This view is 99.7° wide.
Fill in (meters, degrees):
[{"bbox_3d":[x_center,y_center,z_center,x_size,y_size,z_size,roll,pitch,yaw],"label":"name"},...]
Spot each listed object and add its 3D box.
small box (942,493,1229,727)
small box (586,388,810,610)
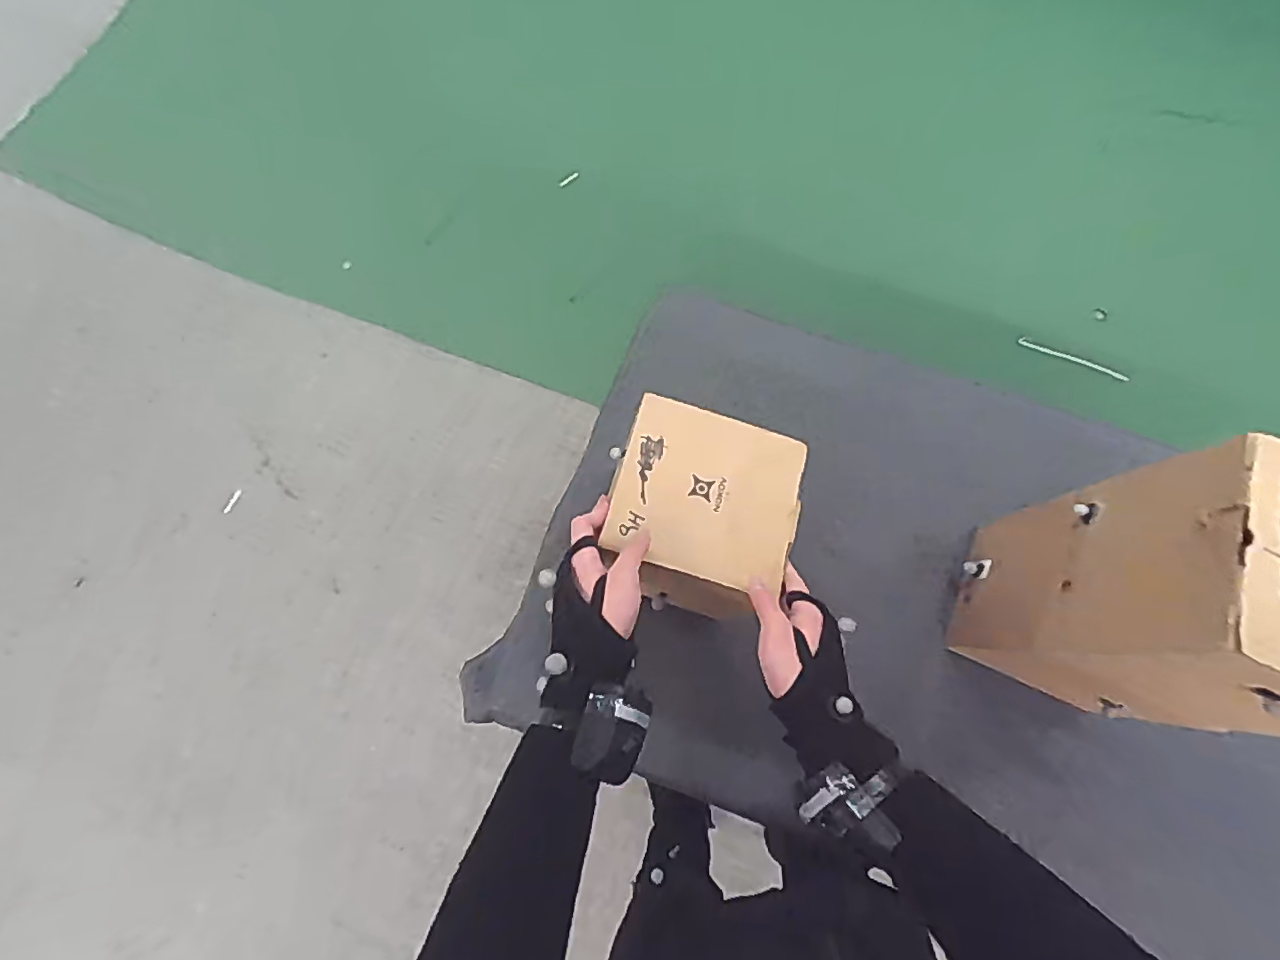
[{"bbox_3d":[0.471,0.137,0.582,0.179,0.176,0.168,23,74,7],"label":"small box"},{"bbox_3d":[0.052,0.034,0.579,0.179,0.176,0.168,19,68,-4],"label":"small box"}]
